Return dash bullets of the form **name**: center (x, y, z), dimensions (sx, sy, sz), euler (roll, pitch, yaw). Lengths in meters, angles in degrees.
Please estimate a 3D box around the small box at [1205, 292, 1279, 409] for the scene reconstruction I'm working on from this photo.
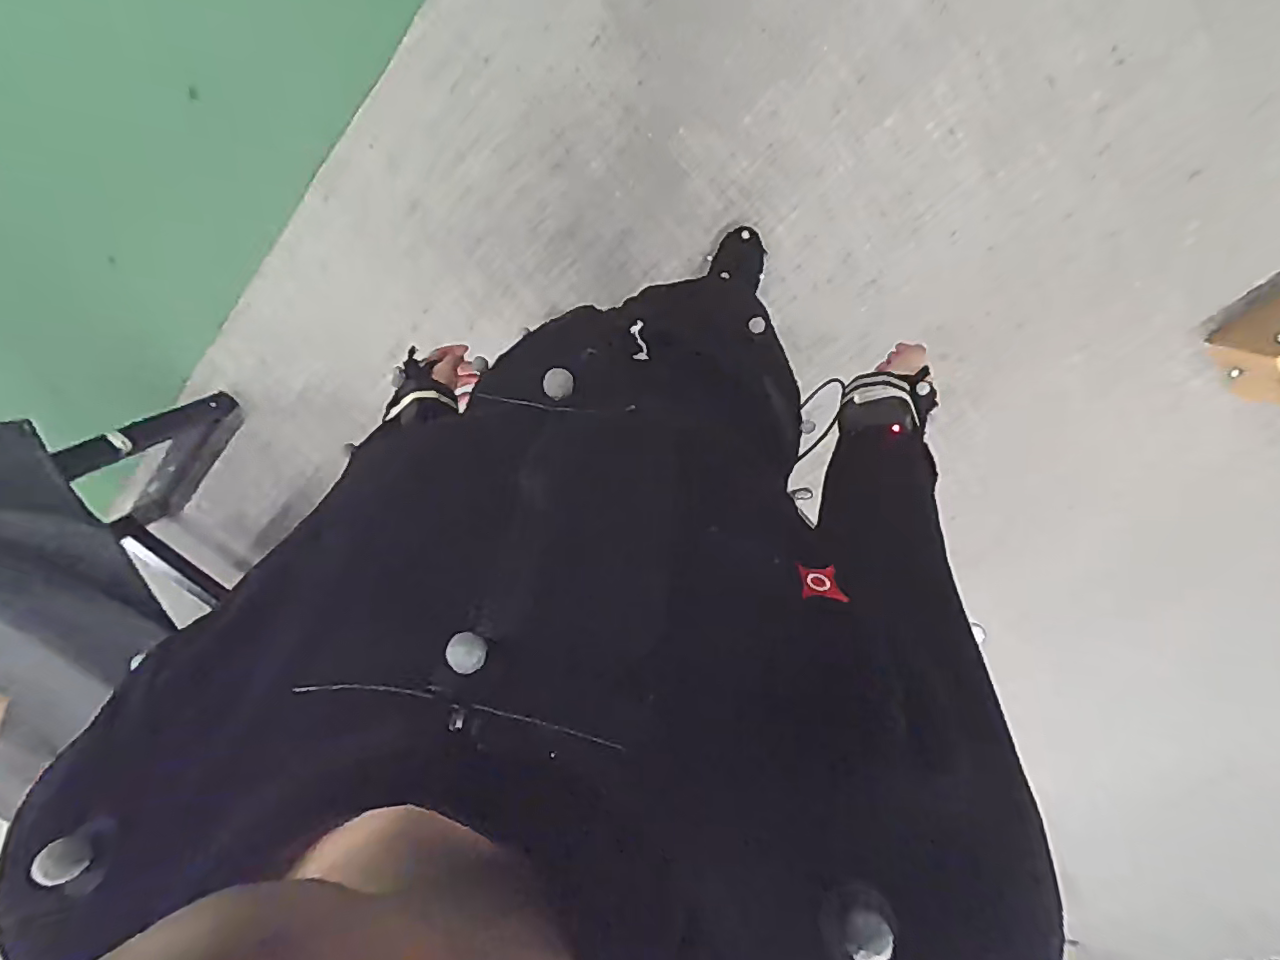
- **small box**: center (1.289, -0.259, 1.052), dimensions (0.168, 0.176, 0.179), euler (43, 114, -14)
